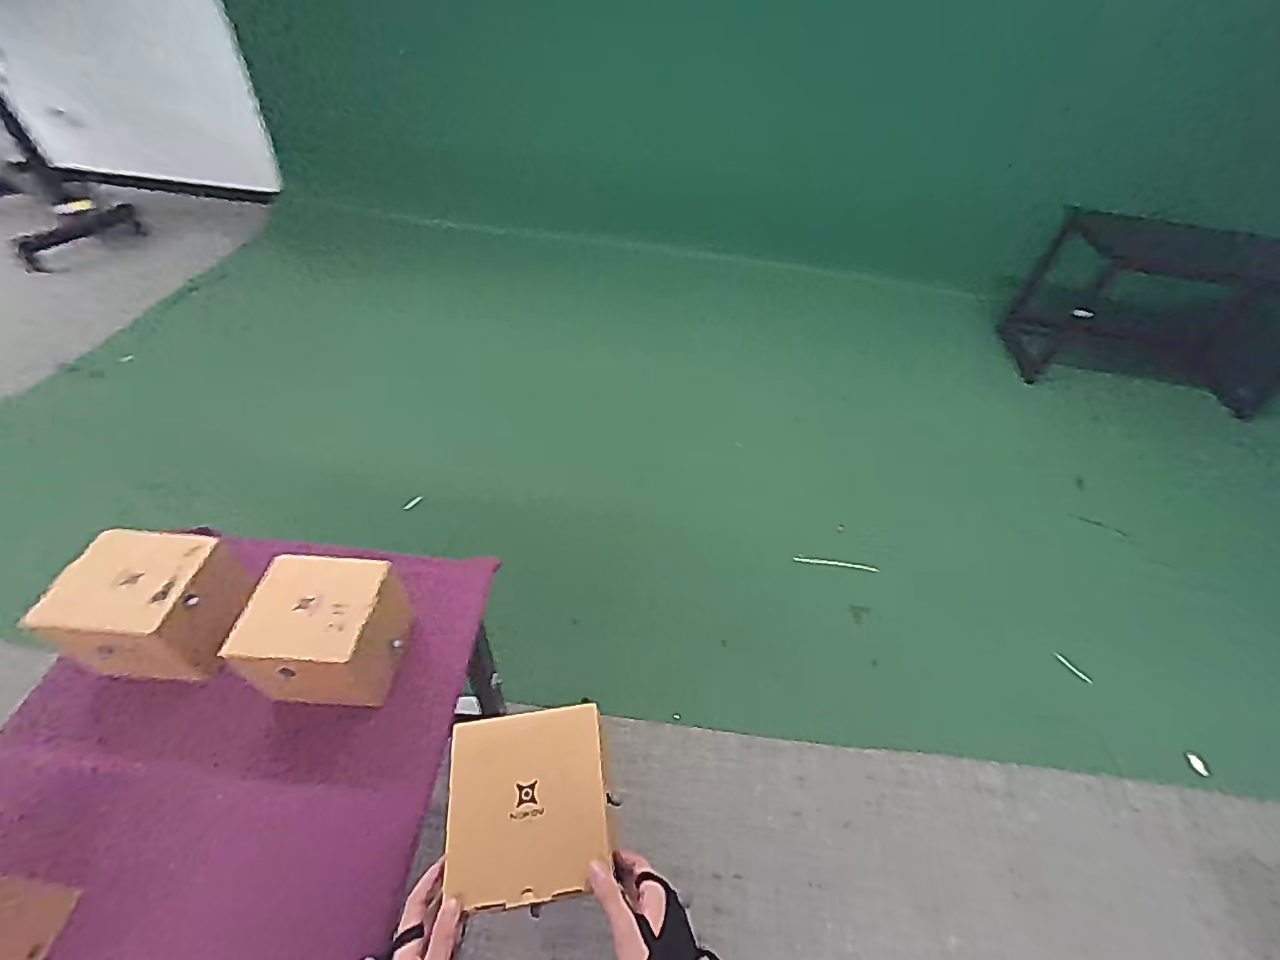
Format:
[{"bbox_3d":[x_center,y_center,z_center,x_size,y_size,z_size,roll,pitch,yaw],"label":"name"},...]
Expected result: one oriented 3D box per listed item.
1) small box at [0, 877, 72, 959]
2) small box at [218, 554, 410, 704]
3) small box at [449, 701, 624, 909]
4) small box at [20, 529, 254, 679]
[{"bbox_3d":[-0.773,0.509,0.550,0.179,0.176,0.168,4,47,-4],"label":"small box"},{"bbox_3d":[-0.486,0.234,0.840,0.179,0.176,0.168,5,47,-1],"label":"small box"},{"bbox_3d":[-0.109,0.377,0.630,0.168,0.176,0.179,-6,55,-3],"label":"small box"},{"bbox_3d":[-0.758,0.197,0.844,0.179,0.176,0.168,5,47,-2],"label":"small box"}]
